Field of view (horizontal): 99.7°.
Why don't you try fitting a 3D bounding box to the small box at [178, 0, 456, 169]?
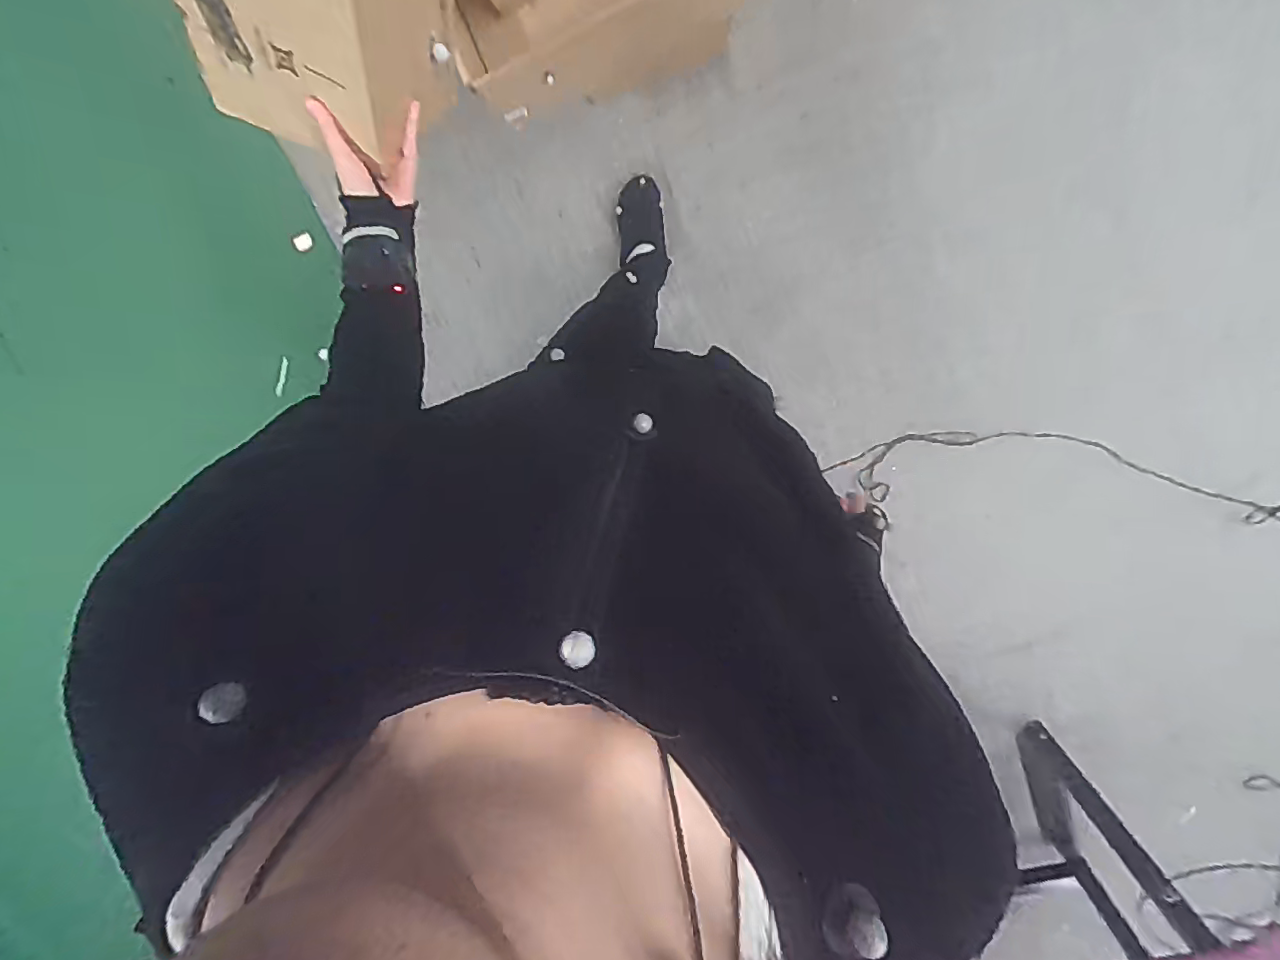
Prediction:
[{"bbox_3d":[-0.294,-0.445,0.511,0.179,0.176,0.168,22,148,-5],"label":"small box"}]
